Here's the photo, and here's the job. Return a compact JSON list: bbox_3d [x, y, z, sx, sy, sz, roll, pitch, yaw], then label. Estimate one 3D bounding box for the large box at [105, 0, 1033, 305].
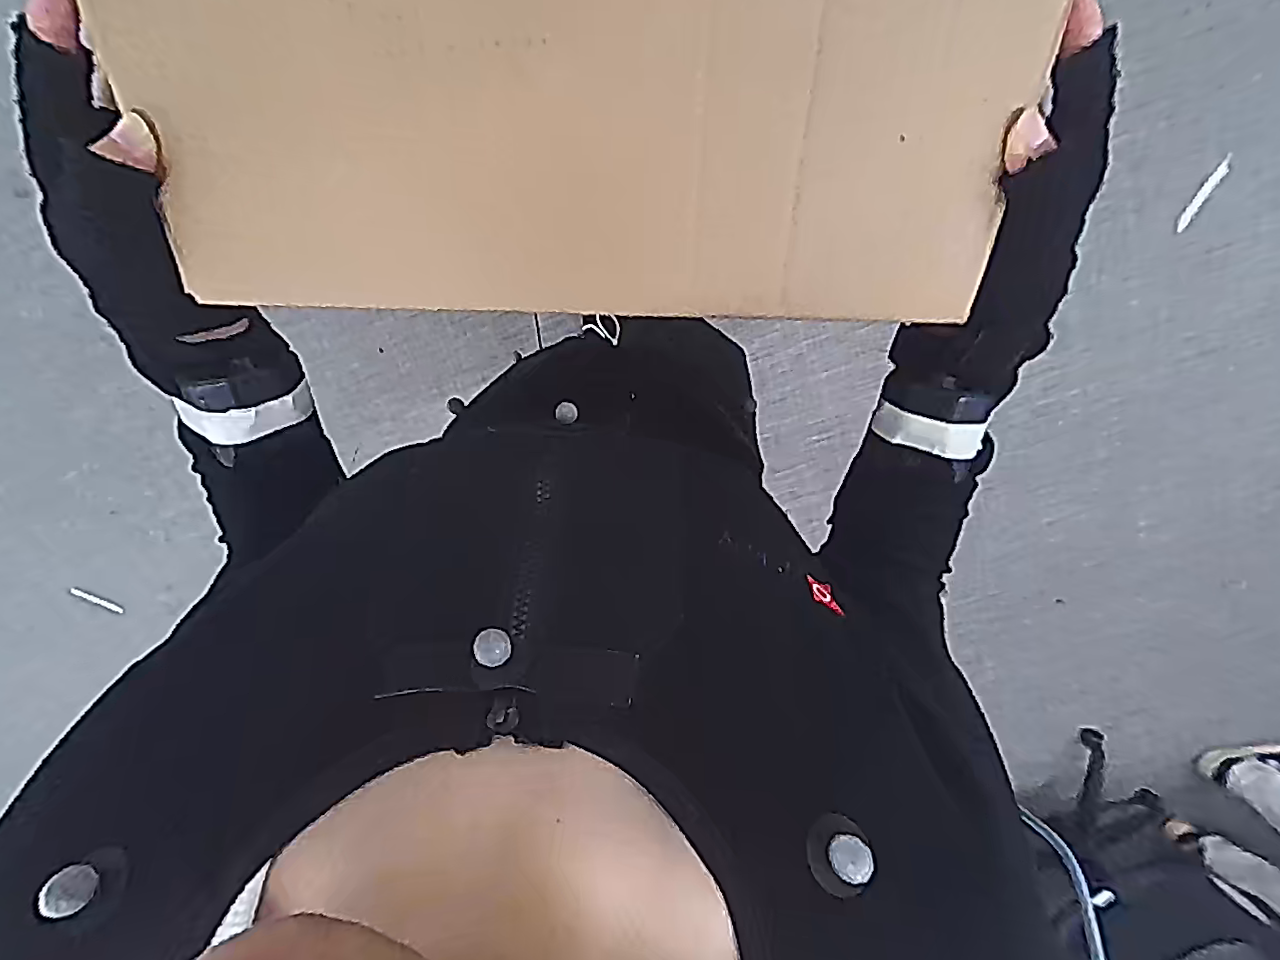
[{"bbox_3d":[-0.031,-0.304,0.348,0.408,0.320,0.320,0,120,-1],"label":"large box"}]
